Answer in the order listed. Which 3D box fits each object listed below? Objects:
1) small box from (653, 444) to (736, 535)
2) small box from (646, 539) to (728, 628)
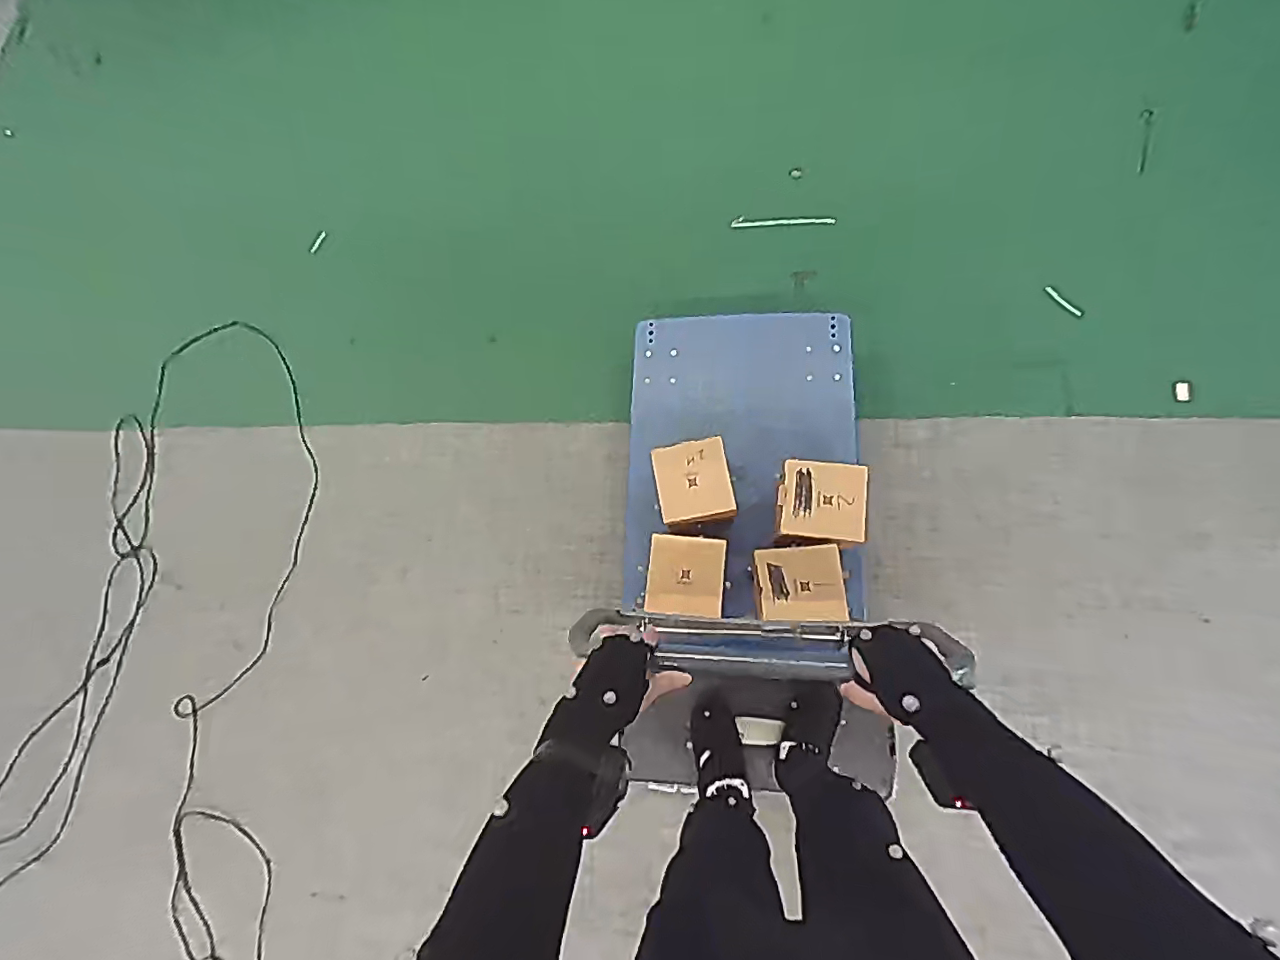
[{"bbox_3d":[0.133,0.031,1.286,0.168,0.176,0.179,-11,76,5],"label":"small box"},{"bbox_3d":[0.111,0.240,1.244,0.168,0.176,0.179,5,78,9],"label":"small box"}]
